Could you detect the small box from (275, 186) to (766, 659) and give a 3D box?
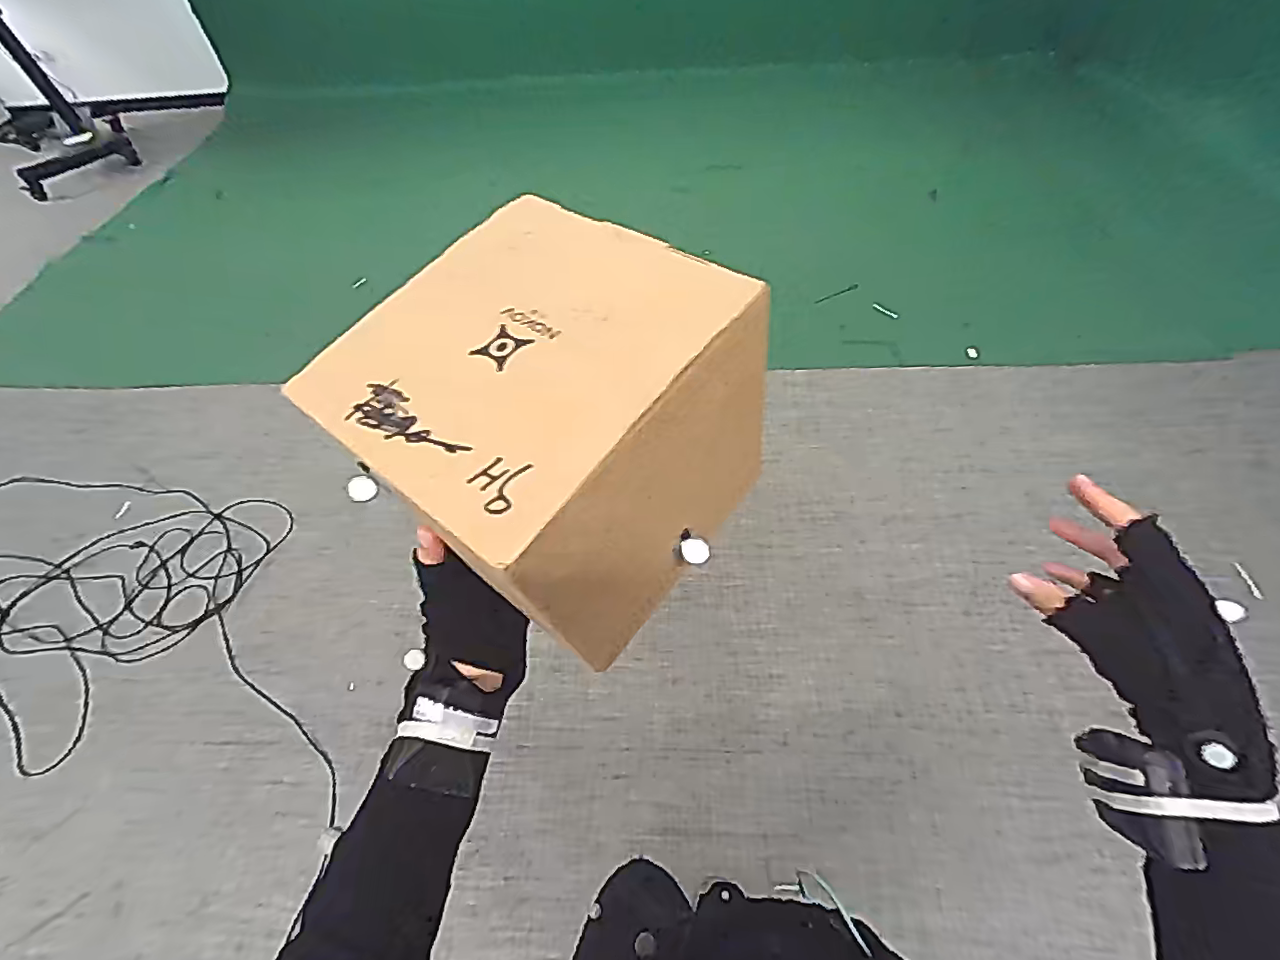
[{"bbox_3d":[-0.047,-0.028,0.316,0.168,0.176,0.179,31,68,26],"label":"small box"}]
